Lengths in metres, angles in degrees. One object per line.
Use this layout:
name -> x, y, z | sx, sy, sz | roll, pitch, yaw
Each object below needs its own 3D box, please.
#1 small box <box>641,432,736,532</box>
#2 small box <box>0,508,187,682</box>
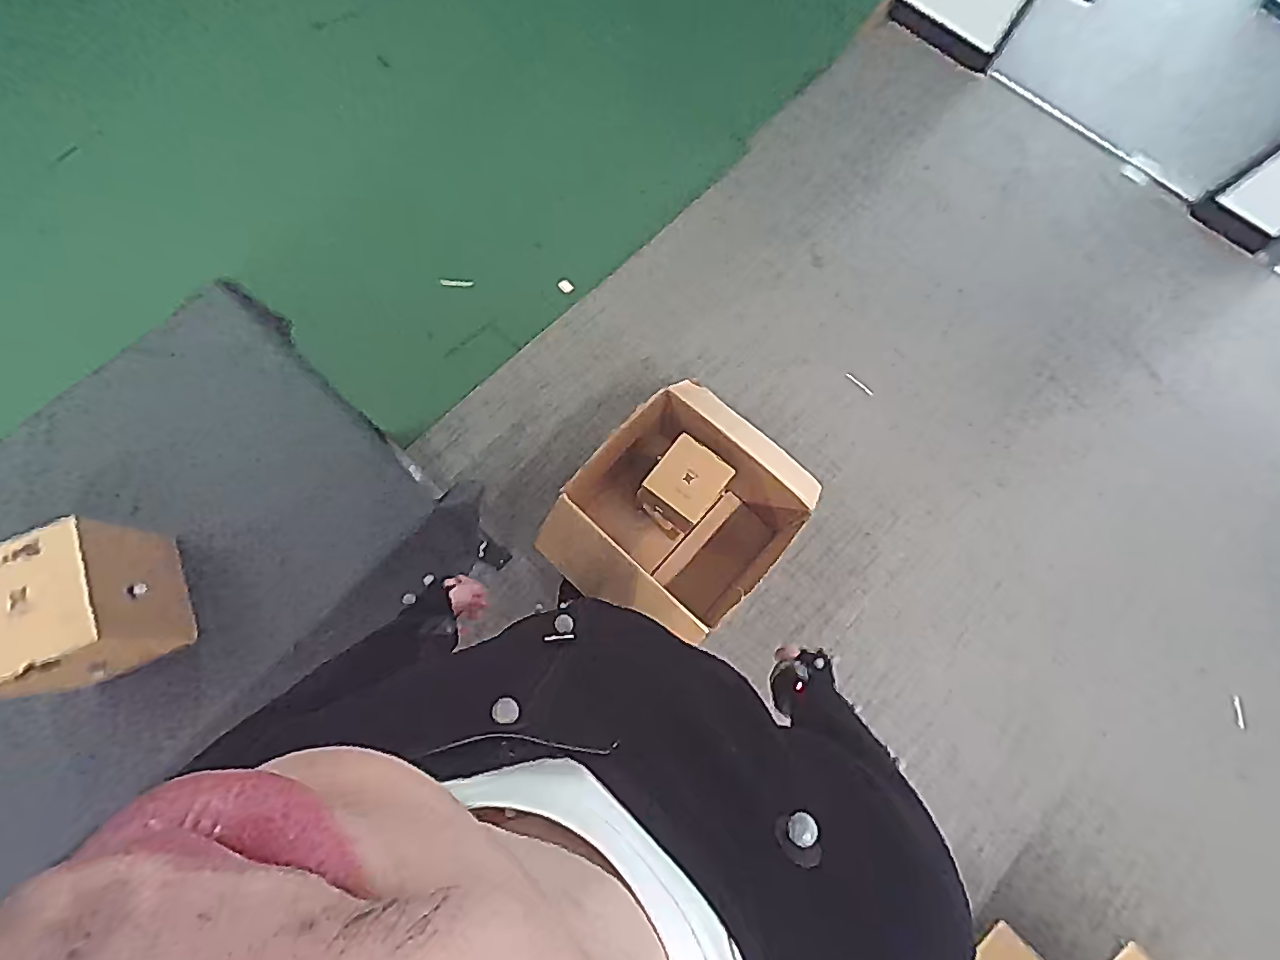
small box -> 0.114, 0.012, 1.383 | 0.168, 0.176, 0.179 | 38, 78, 5
small box -> -0.780, 0.160, 0.746 | 0.168, 0.176, 0.179 | -23, 77, -8
